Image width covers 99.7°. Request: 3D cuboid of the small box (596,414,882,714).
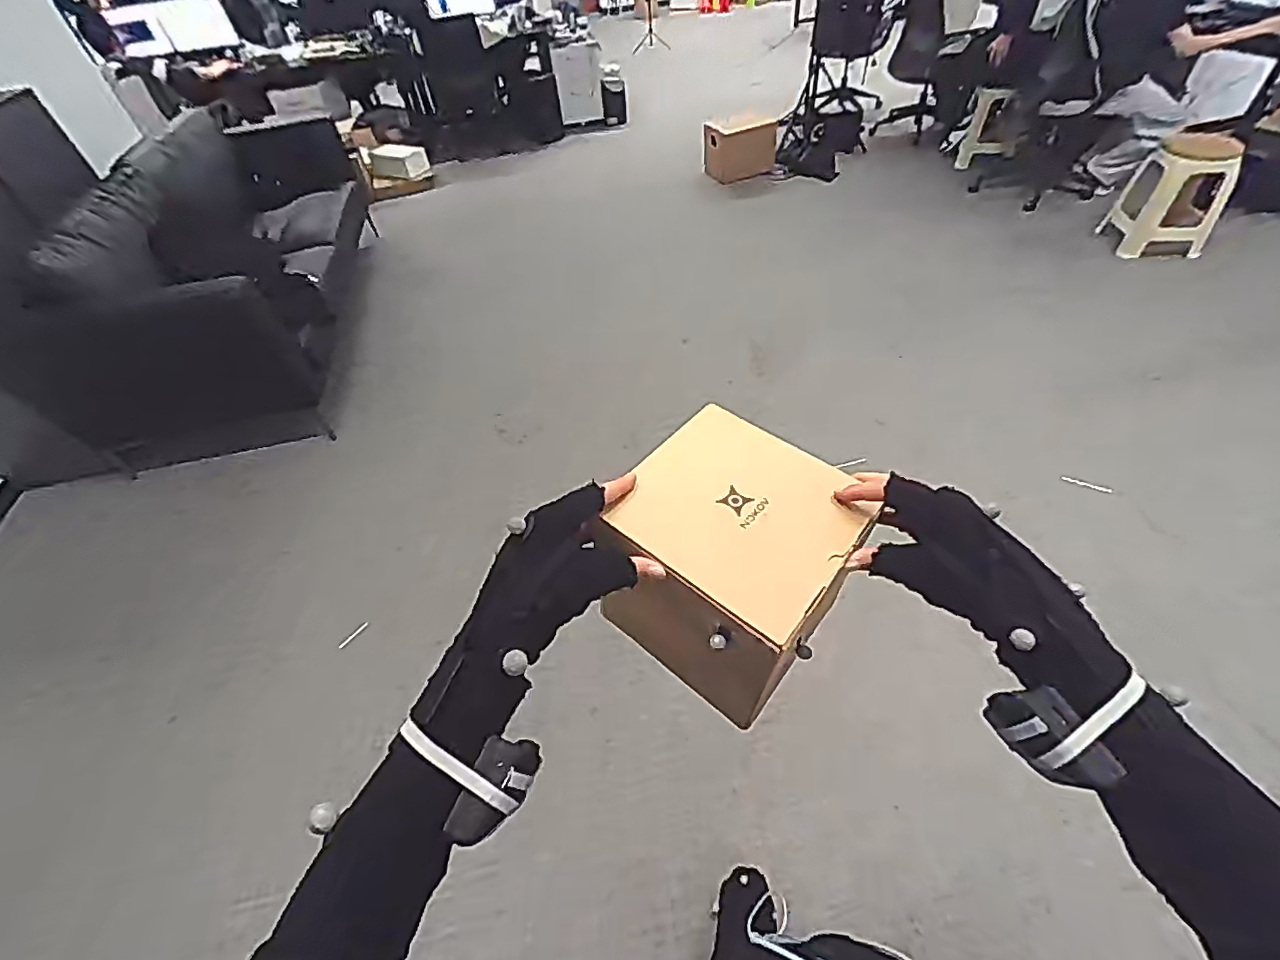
[{"bbox_3d":[0.078,0.077,0.493,0.179,0.176,0.168,34,56,24],"label":"small box"}]
